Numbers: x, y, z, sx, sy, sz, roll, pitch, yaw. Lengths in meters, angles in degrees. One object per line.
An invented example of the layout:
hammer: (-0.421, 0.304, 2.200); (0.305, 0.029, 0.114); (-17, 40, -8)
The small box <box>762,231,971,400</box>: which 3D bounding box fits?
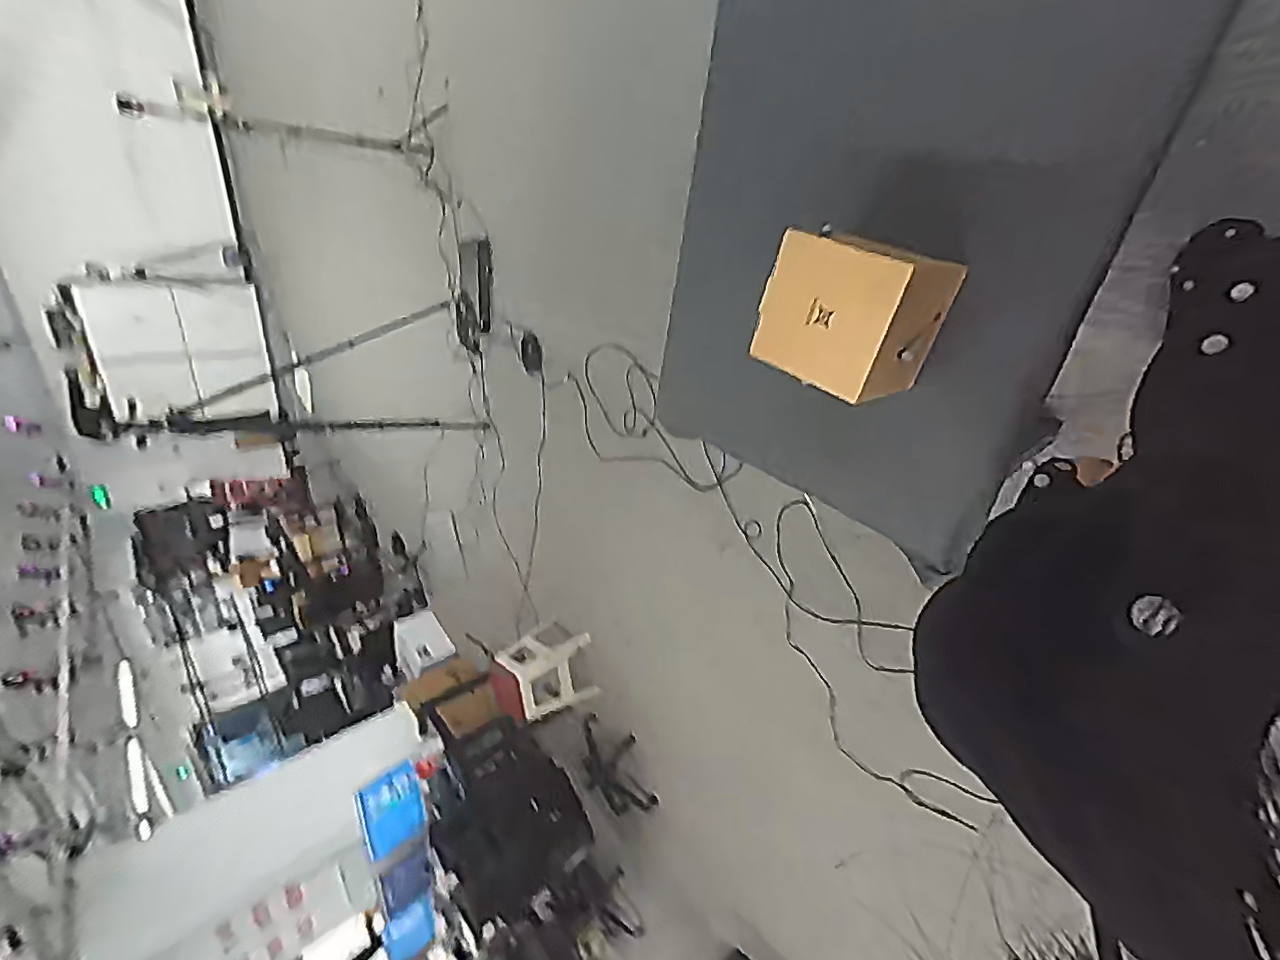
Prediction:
small box: (0.299, -0.225, 0.722); (0.179, 0.176, 0.168); (37, 130, 37)
